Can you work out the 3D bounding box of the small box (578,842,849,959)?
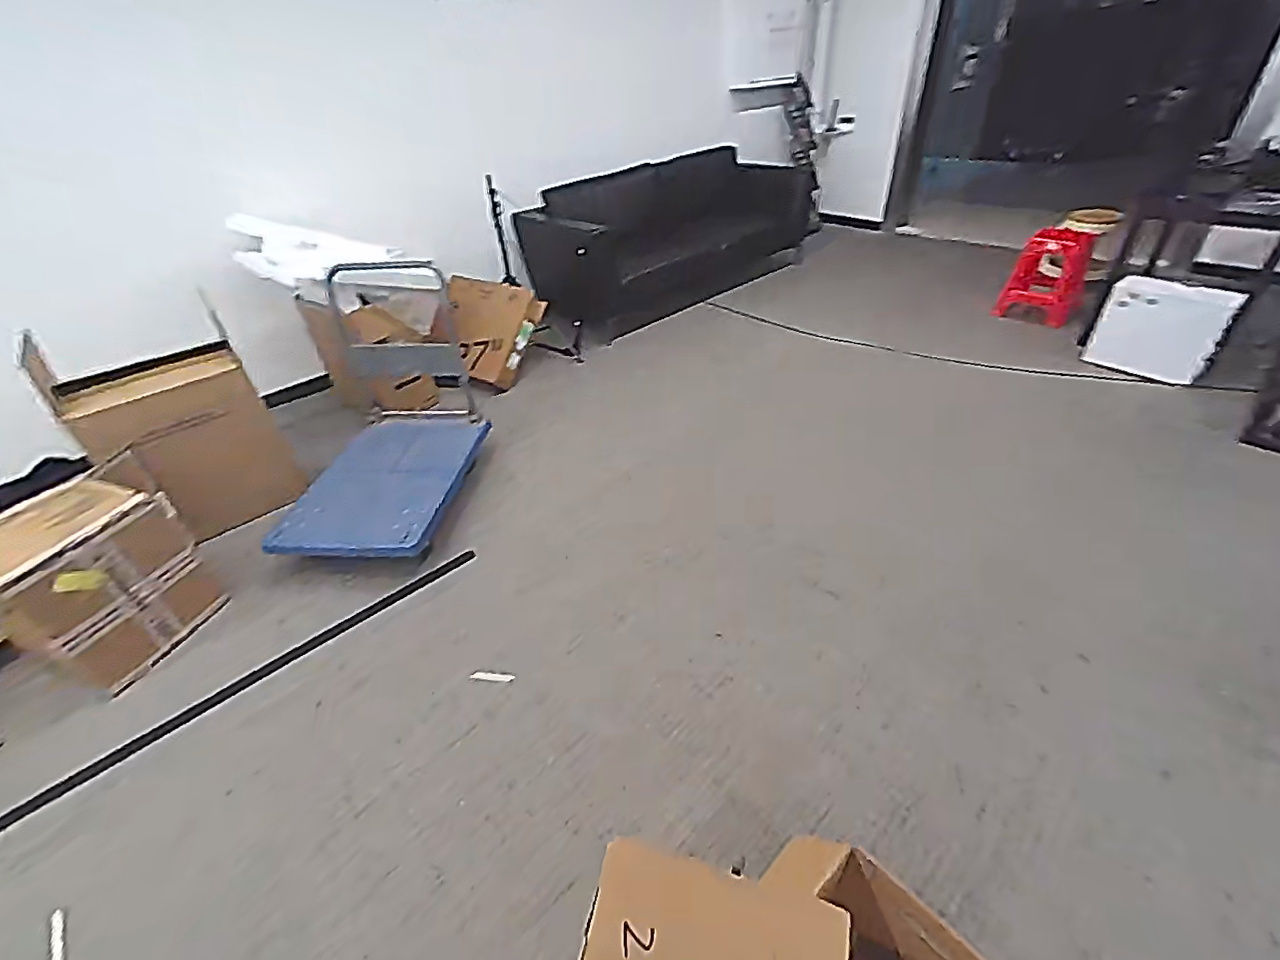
[{"bbox_3d":[0.045,0.394,0.412,0.179,0.176,0.168,10,57,12],"label":"small box"}]
